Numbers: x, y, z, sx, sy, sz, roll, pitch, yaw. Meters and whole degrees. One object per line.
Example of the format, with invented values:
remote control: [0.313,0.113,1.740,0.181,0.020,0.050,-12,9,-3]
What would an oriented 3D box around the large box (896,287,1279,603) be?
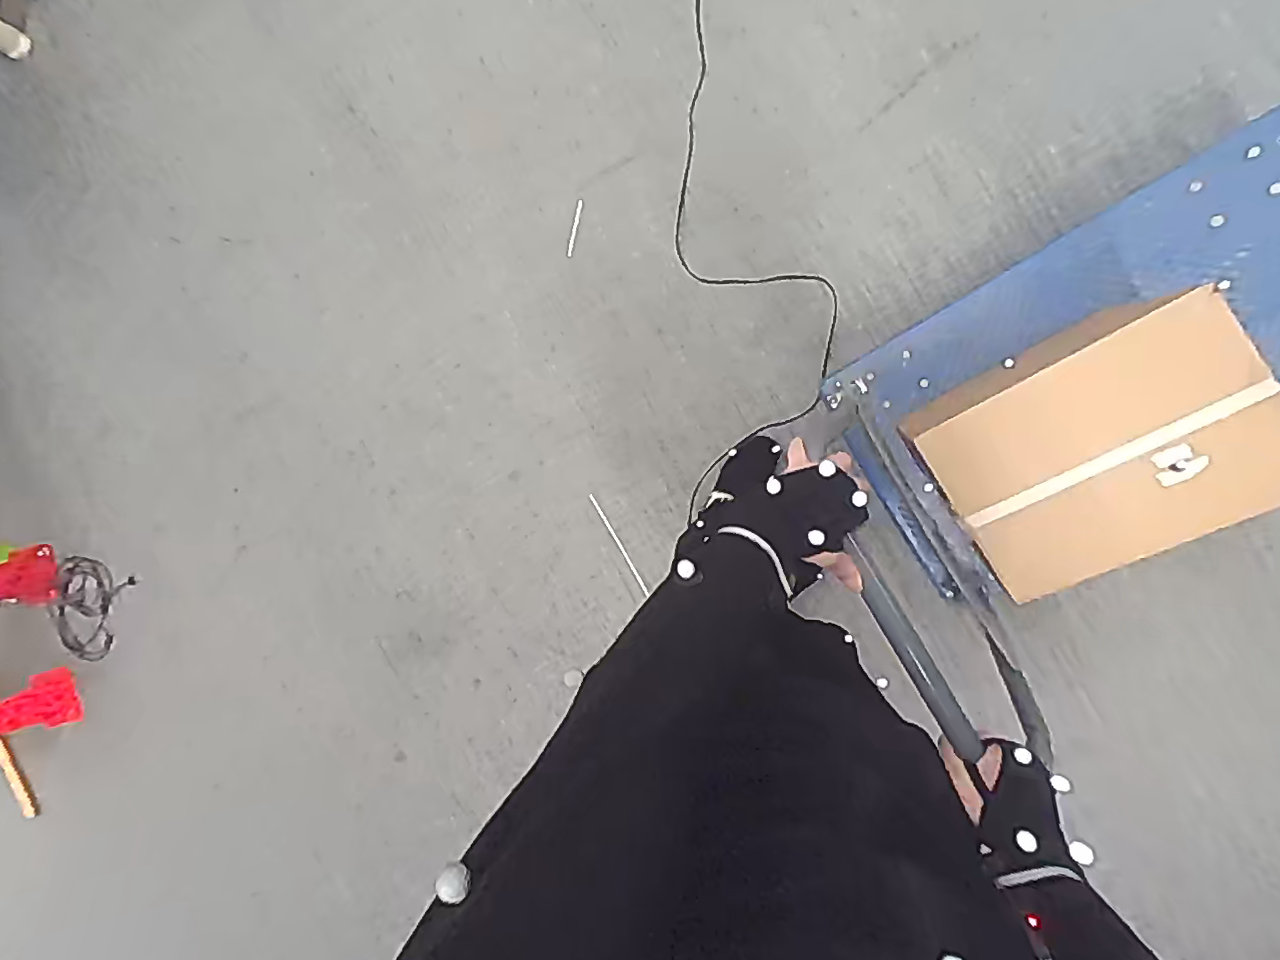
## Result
large box: [0.718,-0.054,0.924,0.408,0.320,0.320,-32,89,22]
